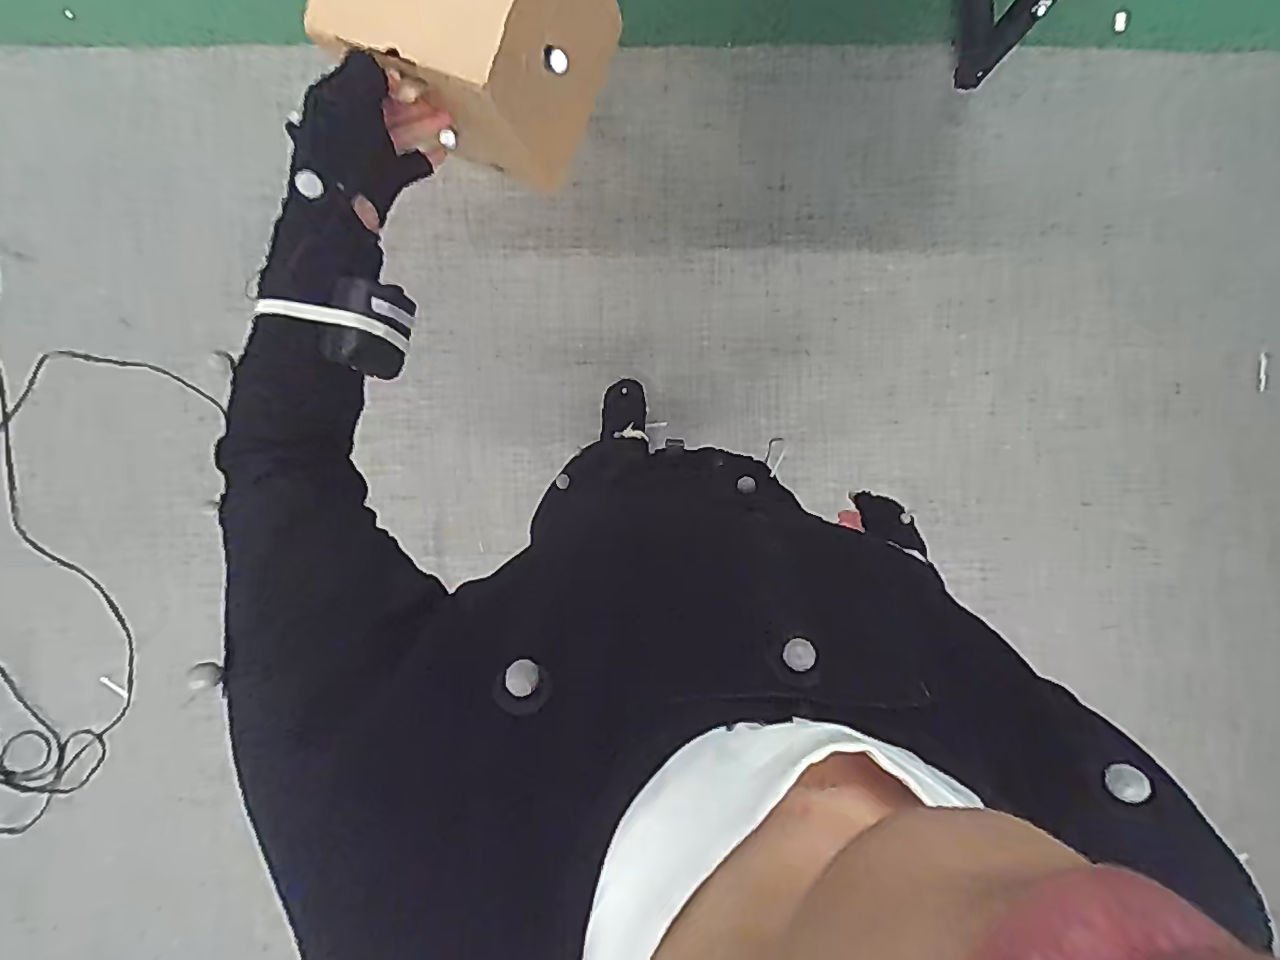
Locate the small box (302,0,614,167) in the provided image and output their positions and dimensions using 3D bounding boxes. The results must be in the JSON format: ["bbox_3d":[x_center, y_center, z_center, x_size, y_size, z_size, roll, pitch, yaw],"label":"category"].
[{"bbox_3d":[-0.137,-0.410,0.463,0.168,0.176,0.179,24,99,7],"label":"small box"}]
